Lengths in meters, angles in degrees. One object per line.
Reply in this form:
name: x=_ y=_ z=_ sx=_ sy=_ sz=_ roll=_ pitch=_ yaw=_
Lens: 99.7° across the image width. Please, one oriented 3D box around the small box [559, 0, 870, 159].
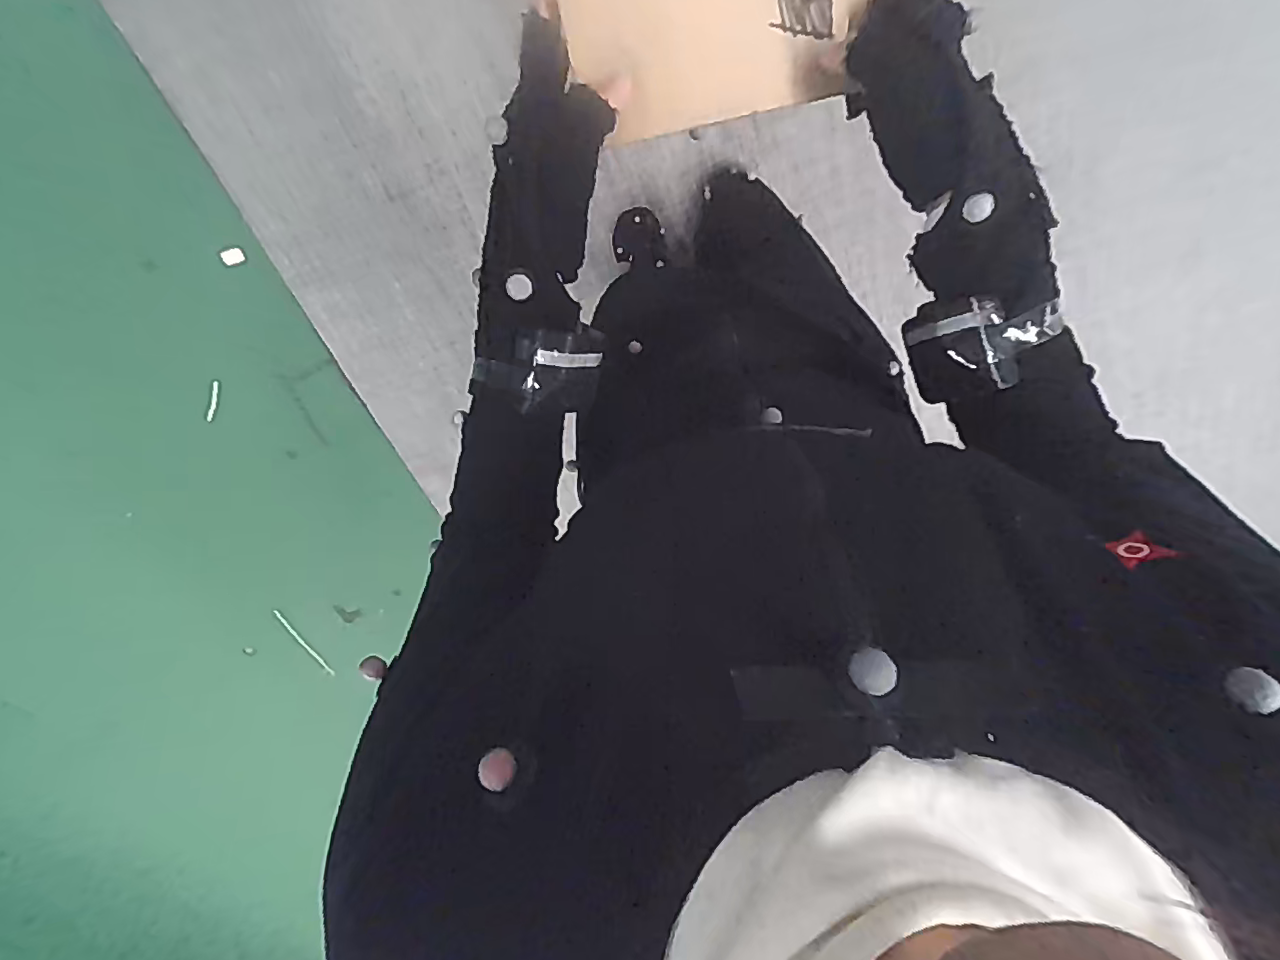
small box: x=0.033 y=-0.338 z=0.355 sx=0.179 sy=0.176 sz=0.168 roll=-14 pitch=129 yaw=5
